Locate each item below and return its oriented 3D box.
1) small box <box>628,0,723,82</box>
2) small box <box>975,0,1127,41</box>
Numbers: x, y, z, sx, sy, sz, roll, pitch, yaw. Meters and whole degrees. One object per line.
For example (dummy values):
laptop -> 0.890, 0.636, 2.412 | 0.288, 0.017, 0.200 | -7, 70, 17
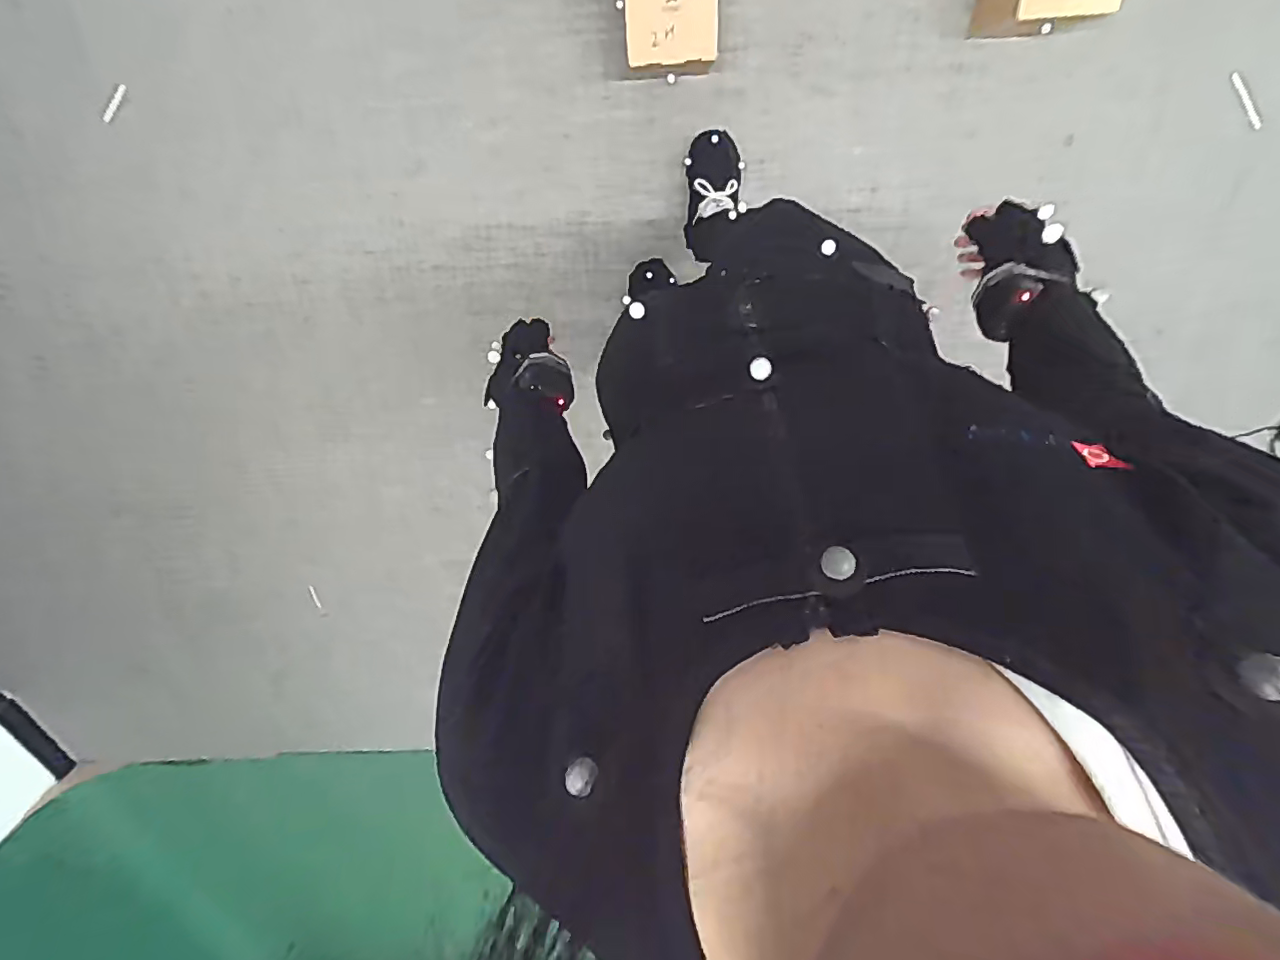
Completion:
small box -> 0.062, -0.865, 1.006 | 0.168, 0.176, 0.179 | -2, 121, 3
small box -> 0.745, -0.907, 0.965 | 0.179, 0.176, 0.168 | -2, 121, 3
